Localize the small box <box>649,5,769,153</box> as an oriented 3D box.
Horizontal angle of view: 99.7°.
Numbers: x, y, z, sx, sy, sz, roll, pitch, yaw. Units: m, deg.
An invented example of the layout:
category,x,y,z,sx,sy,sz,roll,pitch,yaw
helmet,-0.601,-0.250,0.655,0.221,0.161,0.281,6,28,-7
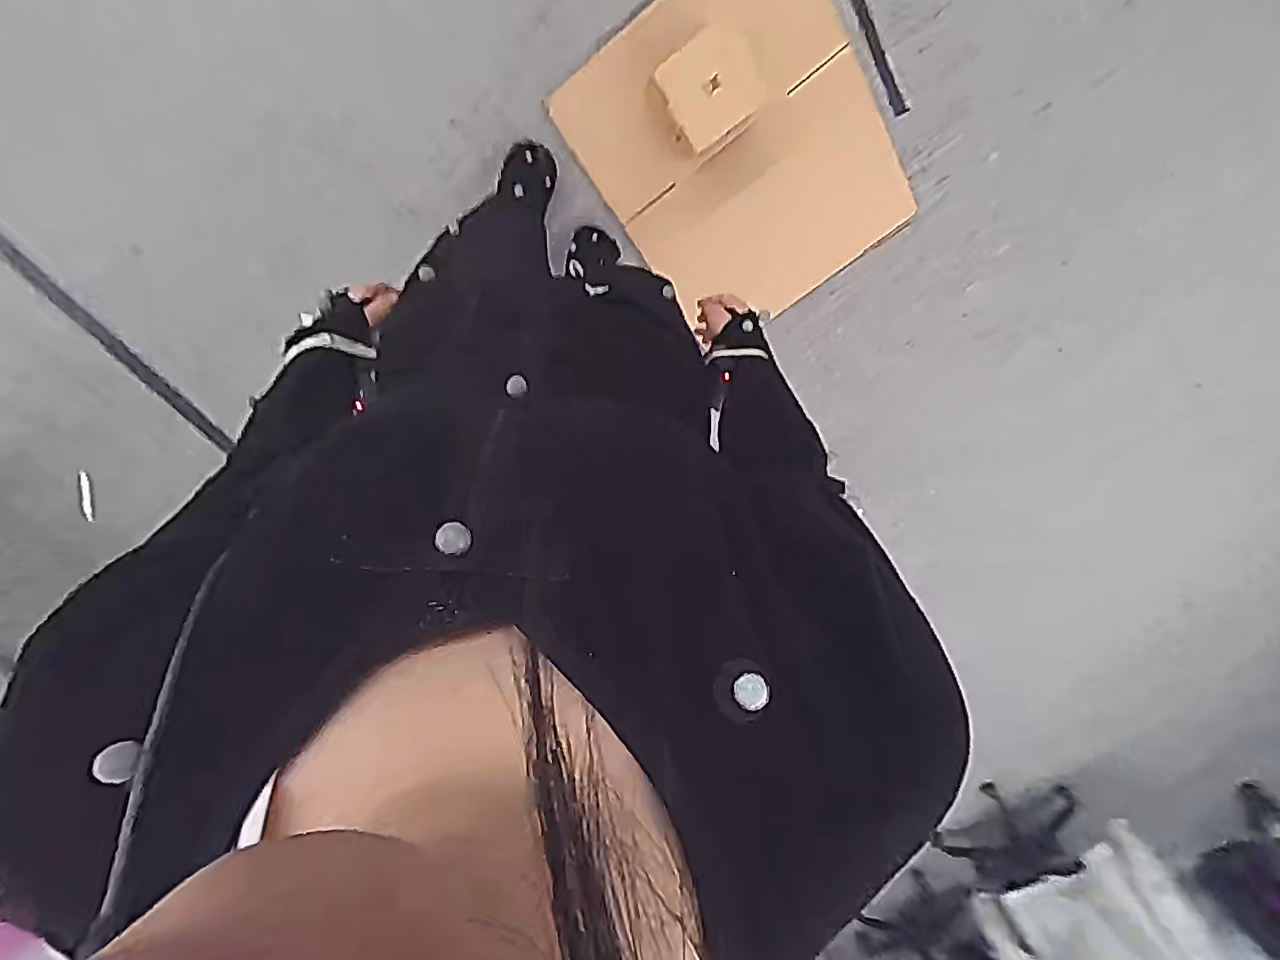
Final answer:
category,x,y,z,sx,sy,sz,roll,pitch,yaw
small box,0.130,-0.799,1.102,0.179,0.176,0.168,-33,116,11
